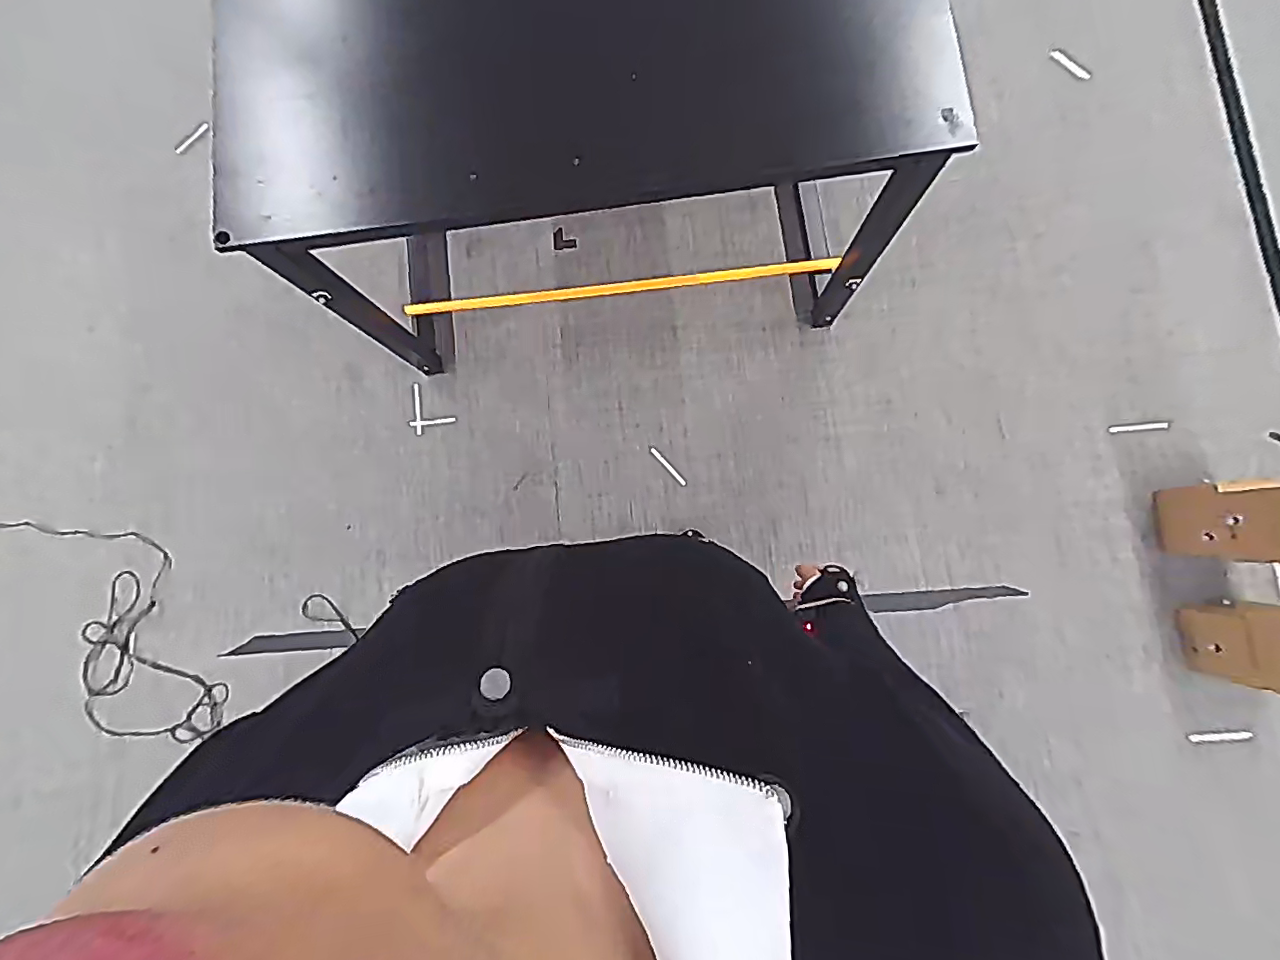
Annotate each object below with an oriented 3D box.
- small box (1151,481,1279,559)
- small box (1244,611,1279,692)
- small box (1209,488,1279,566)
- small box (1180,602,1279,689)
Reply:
[{"bbox_3d":[1.434,0.100,1.340,0.168,0.176,0.179,-4,83,3],"label":"small box"},{"bbox_3d":[1.458,0.370,1.145,0.168,0.176,0.179,-8,84,2],"label":"small box"},{"bbox_3d":[1.422,0.099,1.178,0.179,0.176,0.168,-5,83,4],"label":"small box"},{"bbox_3d":[1.471,0.394,1.309,0.179,0.176,0.168,-8,83,3],"label":"small box"}]
